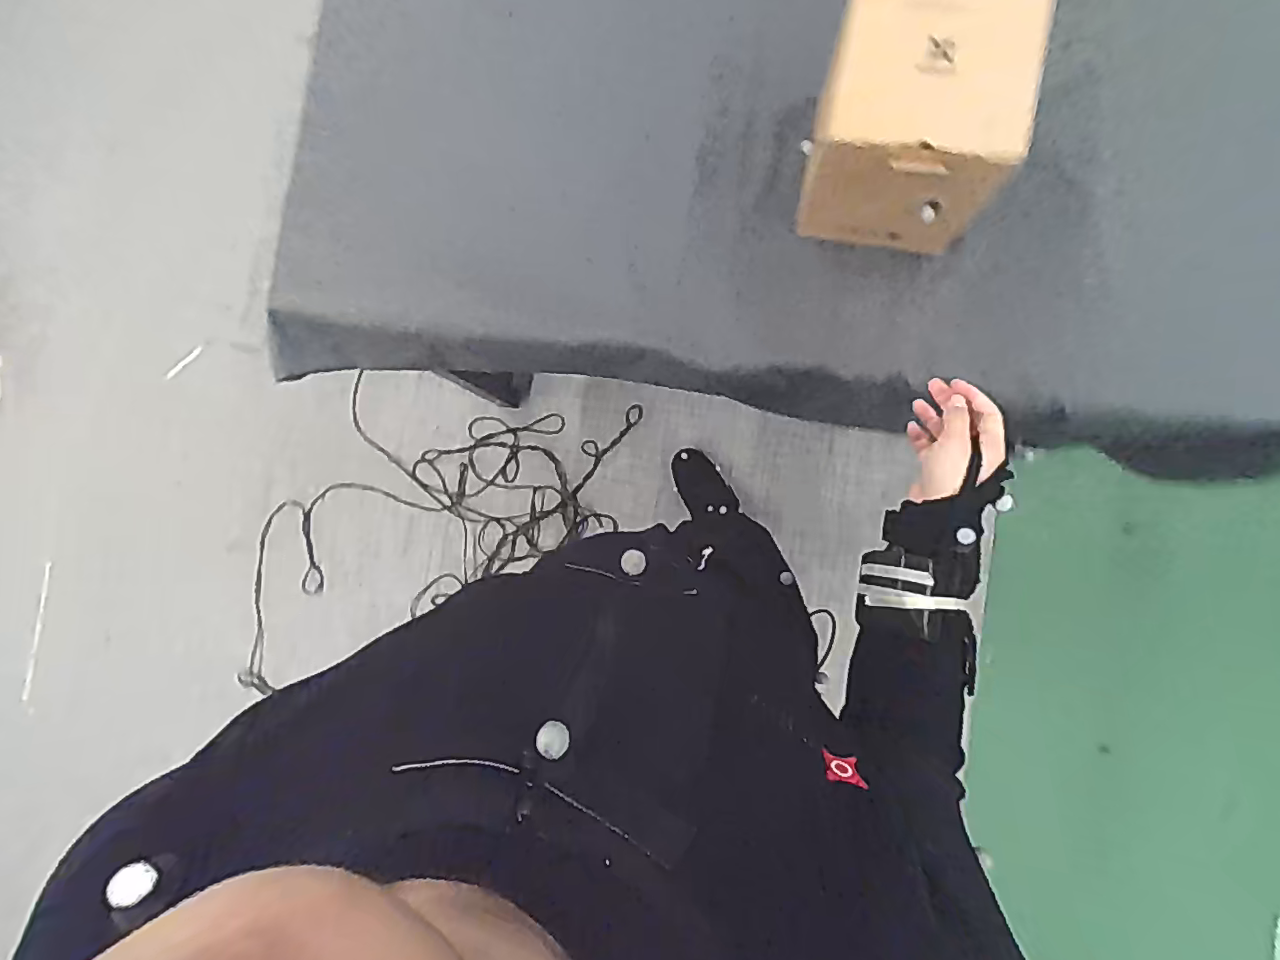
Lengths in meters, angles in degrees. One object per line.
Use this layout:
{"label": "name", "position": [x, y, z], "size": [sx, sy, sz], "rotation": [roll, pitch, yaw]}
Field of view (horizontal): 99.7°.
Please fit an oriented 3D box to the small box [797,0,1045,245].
{"label": "small box", "position": [0.263, -0.364, 0.546], "size": [0.168, 0.176, 0.179], "rotation": [10, 87, 7]}
